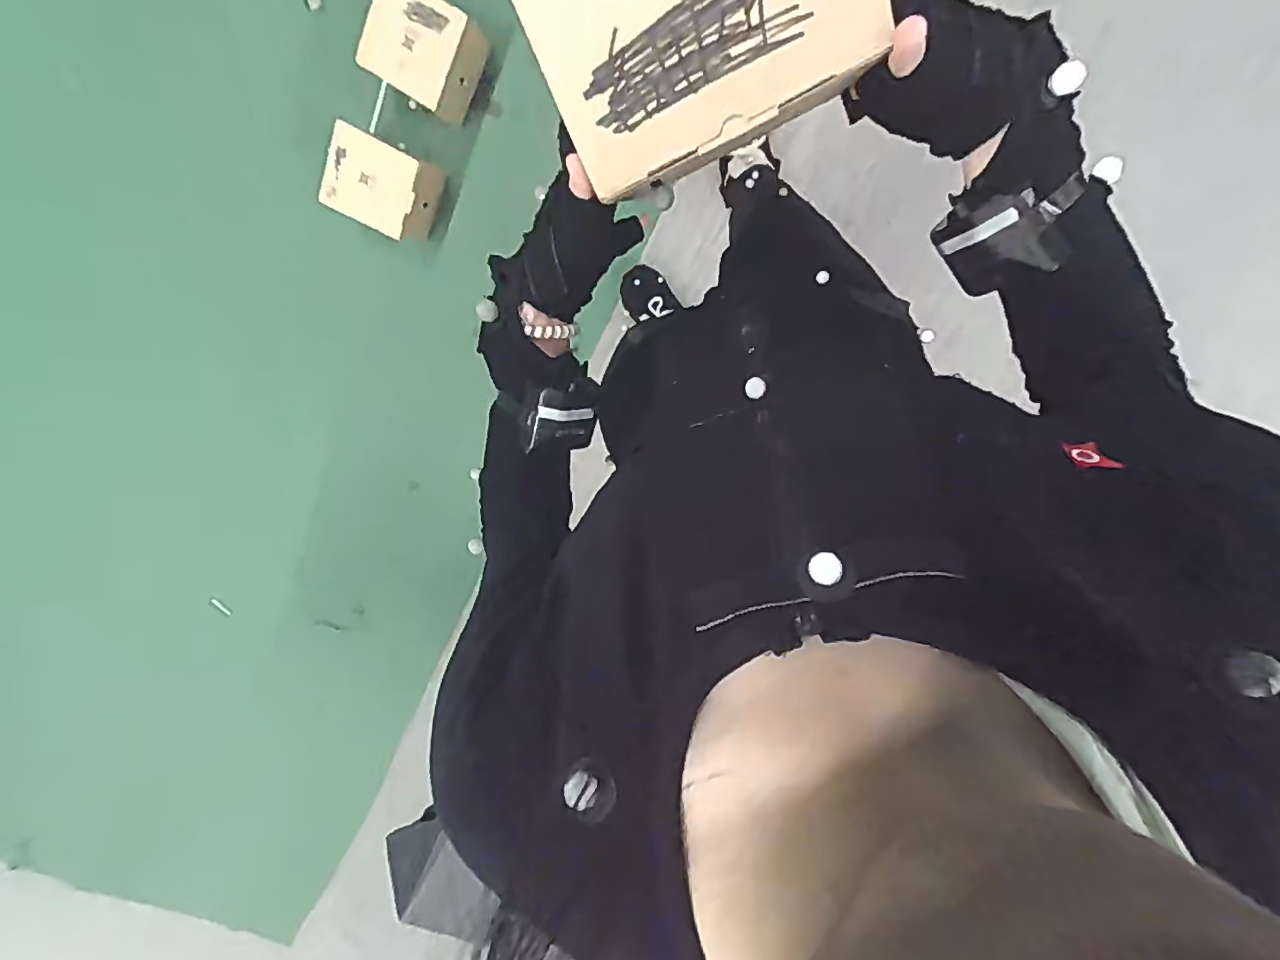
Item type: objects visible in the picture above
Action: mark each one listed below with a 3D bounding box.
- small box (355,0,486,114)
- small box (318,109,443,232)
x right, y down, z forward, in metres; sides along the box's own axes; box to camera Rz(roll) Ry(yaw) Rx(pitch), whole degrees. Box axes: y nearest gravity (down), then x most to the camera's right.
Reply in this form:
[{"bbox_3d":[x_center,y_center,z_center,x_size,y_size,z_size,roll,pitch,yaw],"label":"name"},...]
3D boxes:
[{"bbox_3d":[-0.424,-0.874,1.074,0.168,0.176,0.179,28,112,-12],"label":"small box"},{"bbox_3d":[-0.552,-0.661,1.172,0.179,0.176,0.168,25,112,-11],"label":"small box"}]
